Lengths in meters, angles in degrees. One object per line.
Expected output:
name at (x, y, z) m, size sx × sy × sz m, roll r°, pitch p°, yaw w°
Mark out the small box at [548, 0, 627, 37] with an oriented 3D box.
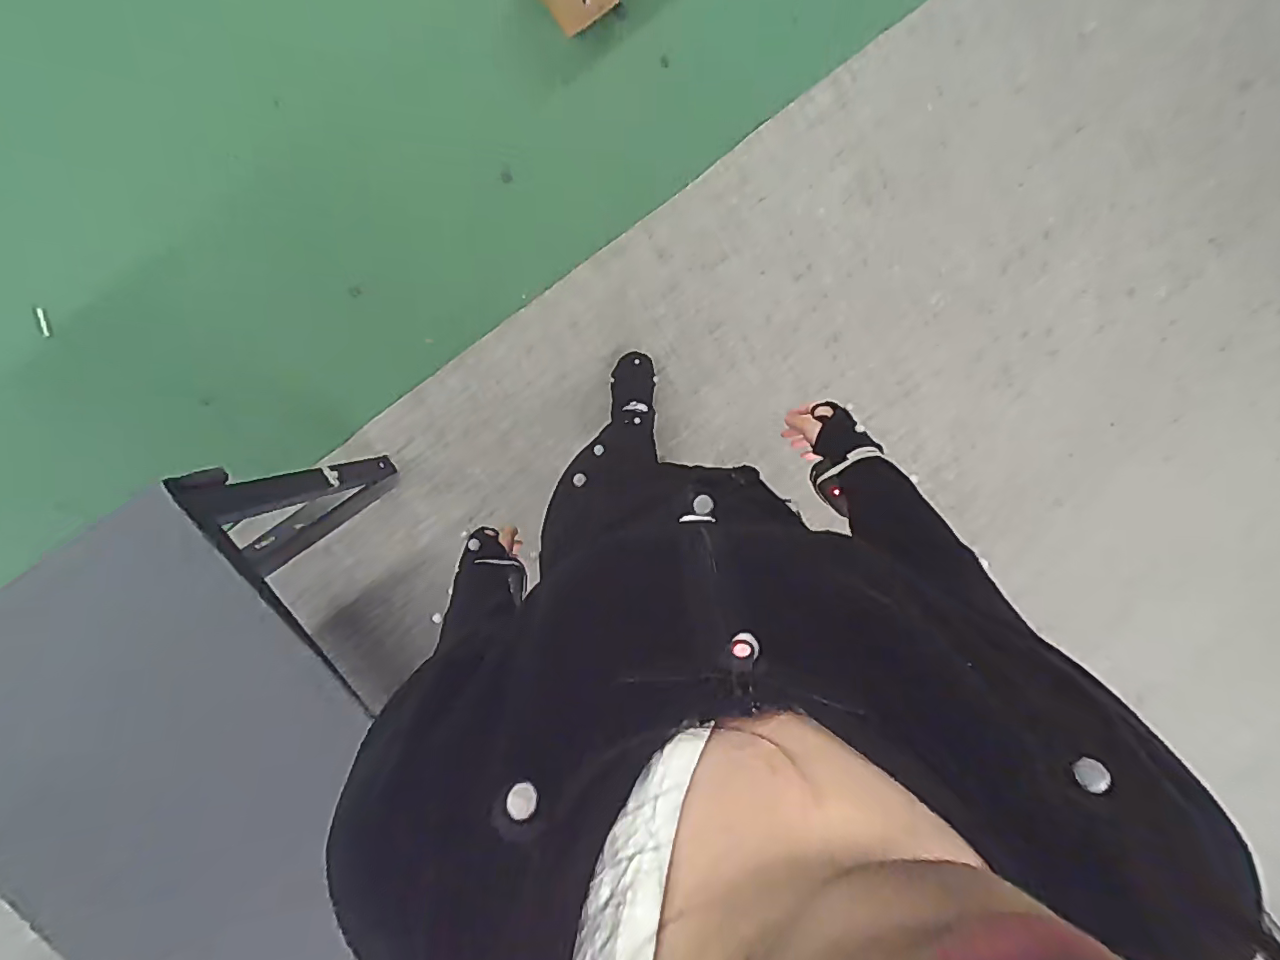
small box at (-0.141, -1.205, 1.277) m, size 0.168 × 0.176 × 0.179 m, roll -35°, pitch 95°, yaw 4°
